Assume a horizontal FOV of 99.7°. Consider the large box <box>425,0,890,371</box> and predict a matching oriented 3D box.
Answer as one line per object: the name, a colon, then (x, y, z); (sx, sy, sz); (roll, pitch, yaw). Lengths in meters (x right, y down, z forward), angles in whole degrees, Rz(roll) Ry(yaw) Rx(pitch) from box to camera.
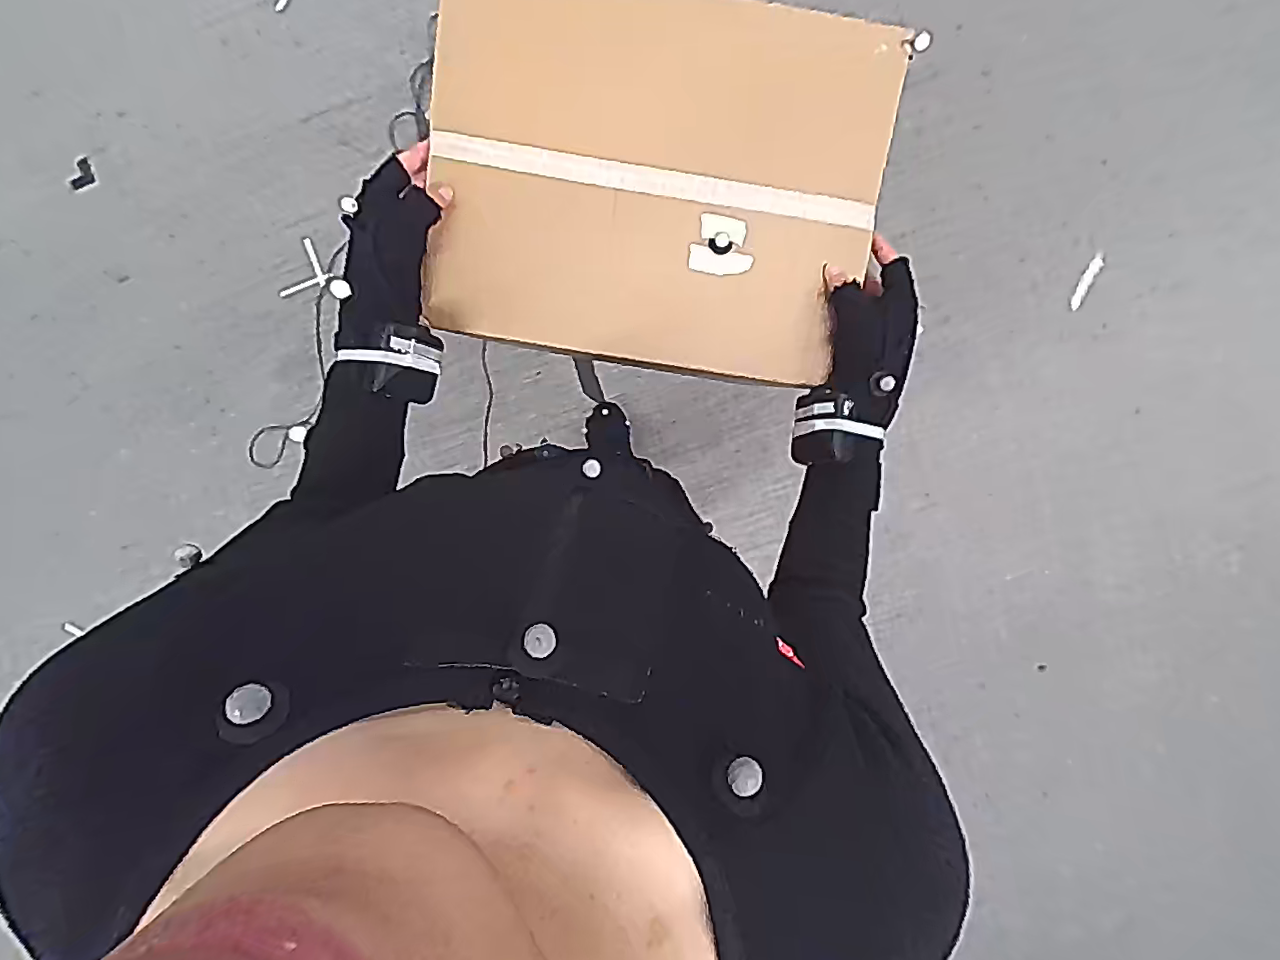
large box: (0.003, -0.311, 0.644); (0.408, 0.320, 0.320); (8, 101, -3)
